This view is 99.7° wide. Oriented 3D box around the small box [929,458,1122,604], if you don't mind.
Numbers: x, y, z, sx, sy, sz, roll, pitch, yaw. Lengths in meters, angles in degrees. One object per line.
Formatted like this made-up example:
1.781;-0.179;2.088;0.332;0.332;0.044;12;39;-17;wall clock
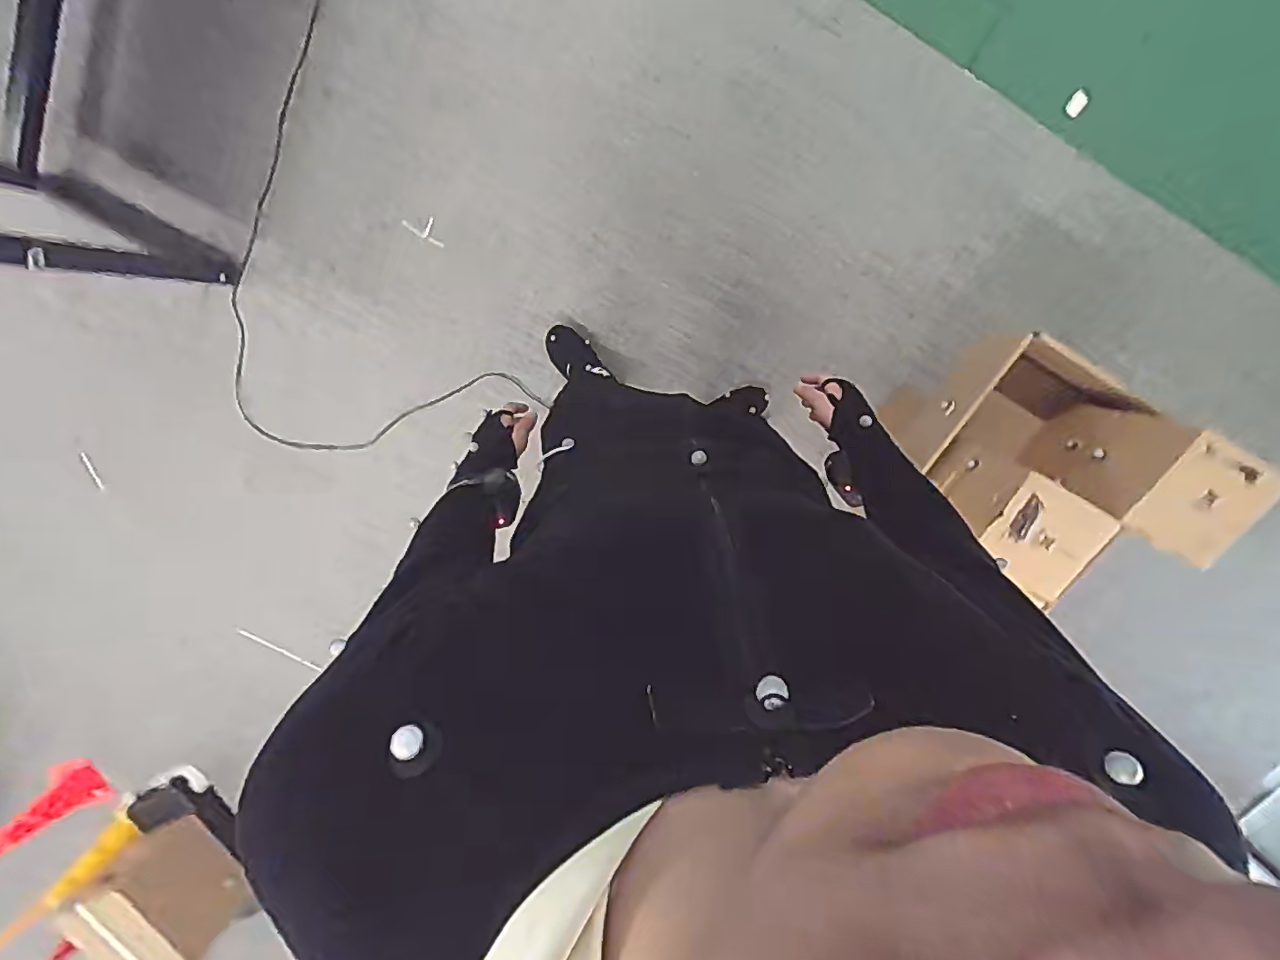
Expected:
0.648;0.076;0.937;0.179;0.176;0.168;29;106;-5;small box

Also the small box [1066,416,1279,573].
0.871;0.016;0.904;0.168;0.176;0.179;31;107;-4;small box
